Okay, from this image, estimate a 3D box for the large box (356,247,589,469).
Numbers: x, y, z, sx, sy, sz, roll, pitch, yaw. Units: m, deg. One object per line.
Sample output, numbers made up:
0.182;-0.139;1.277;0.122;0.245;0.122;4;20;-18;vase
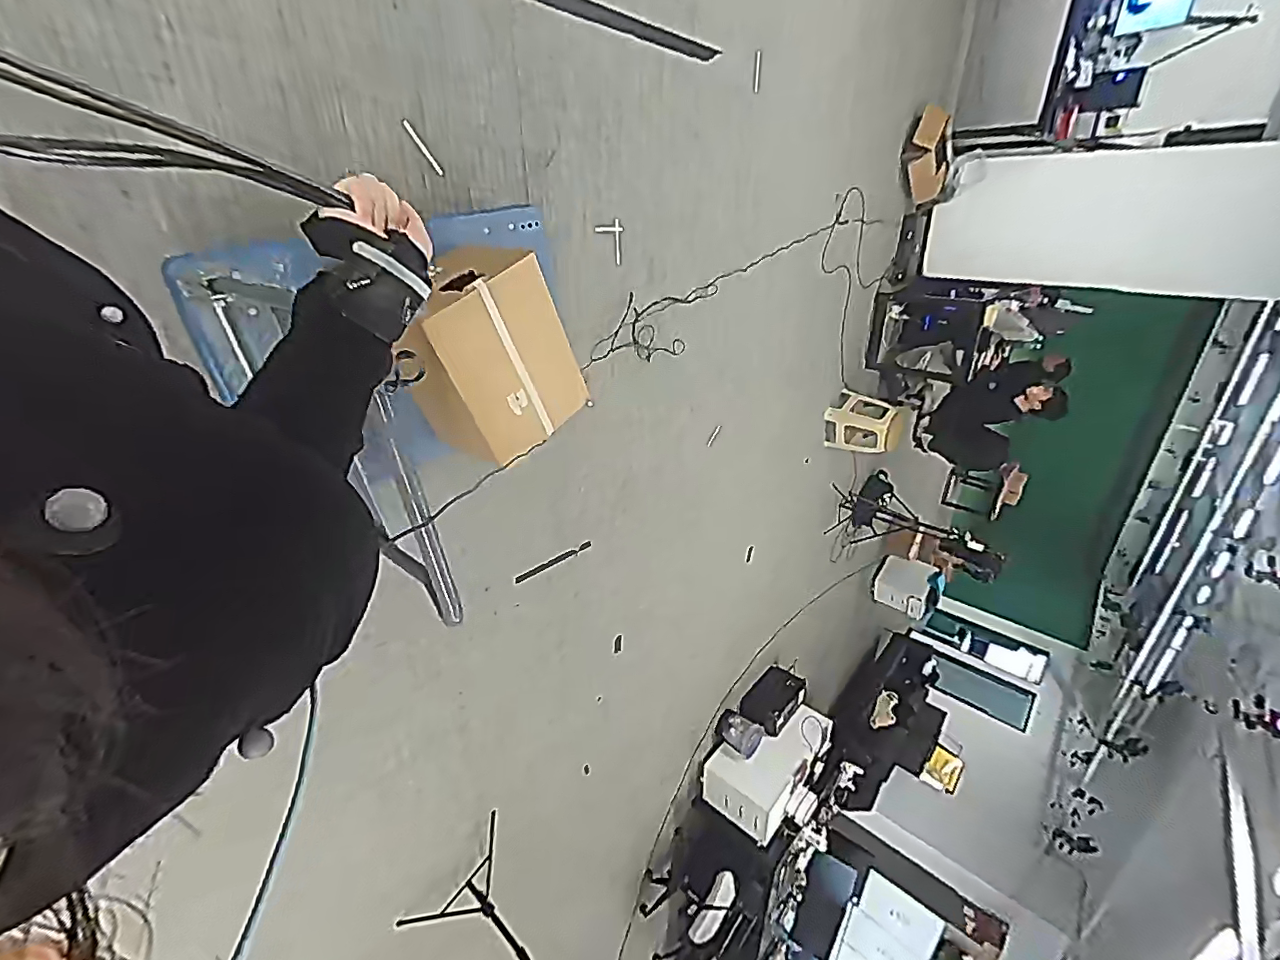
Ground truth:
-0.390;-0.302;1.322;0.320;0.320;0.408;-46;138;-26;large box
